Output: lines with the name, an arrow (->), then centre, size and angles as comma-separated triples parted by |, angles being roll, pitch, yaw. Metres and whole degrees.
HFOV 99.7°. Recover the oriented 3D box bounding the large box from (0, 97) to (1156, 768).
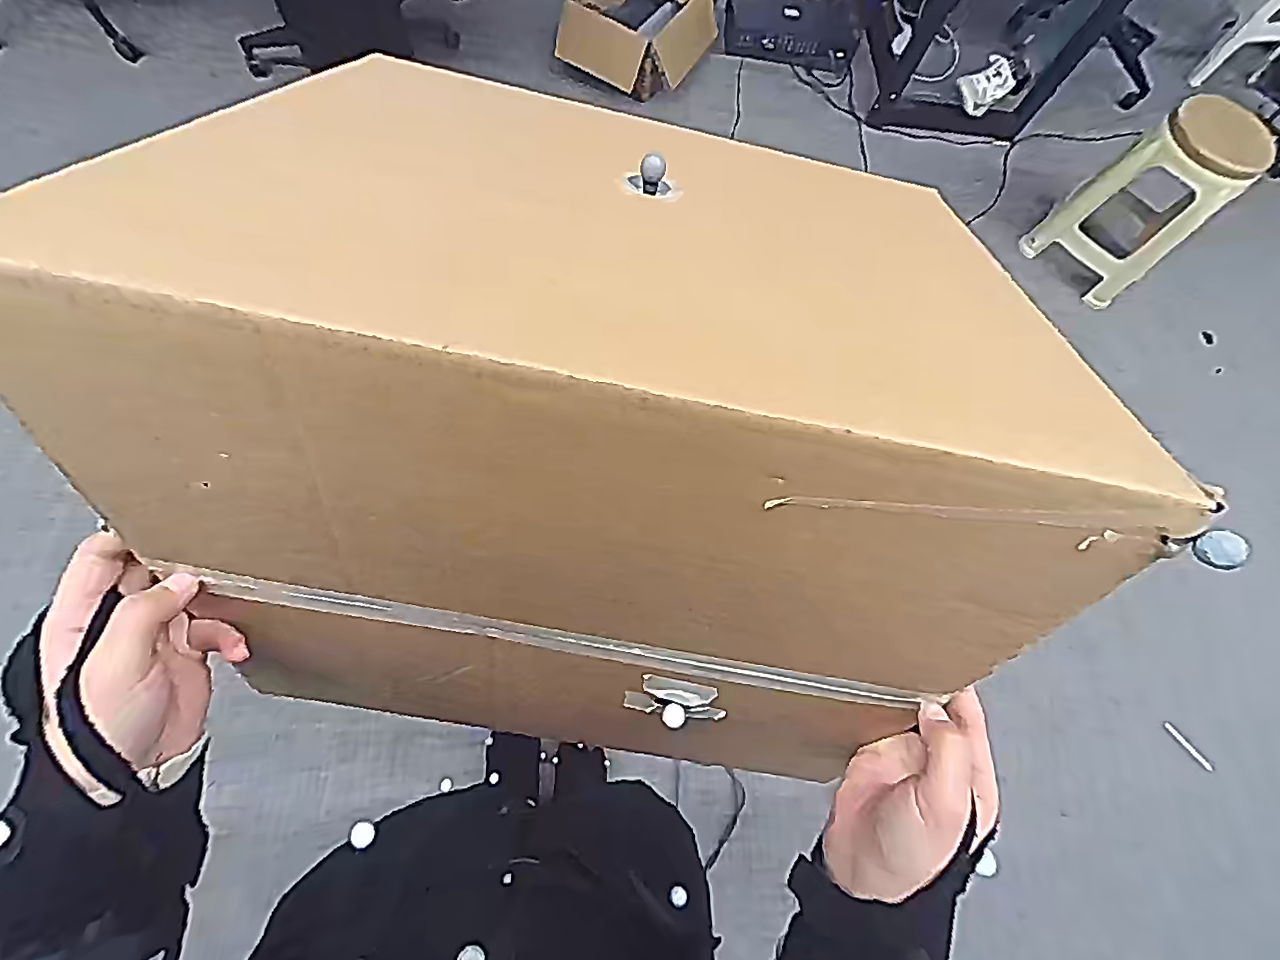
large box -> -0.027, -0.029, 0.386 | 0.408, 0.320, 0.320 | 10, 47, -4
